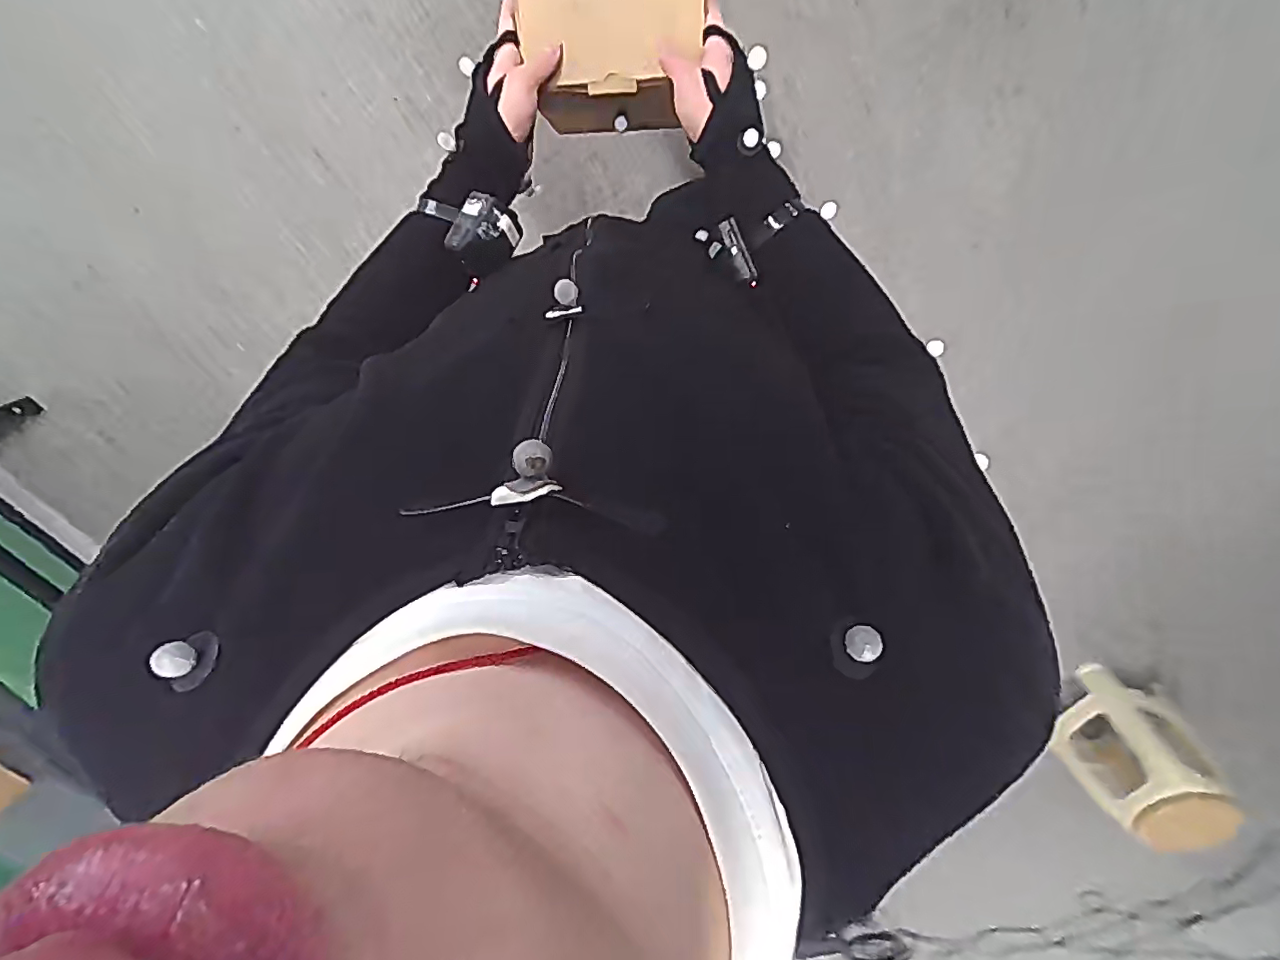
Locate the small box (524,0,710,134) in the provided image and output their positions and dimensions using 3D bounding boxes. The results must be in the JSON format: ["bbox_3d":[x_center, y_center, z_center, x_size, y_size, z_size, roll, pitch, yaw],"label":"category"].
[{"bbox_3d":[-0.017,-0.464,0.539,0.168,0.176,0.179,-3,110,5],"label":"small box"}]
